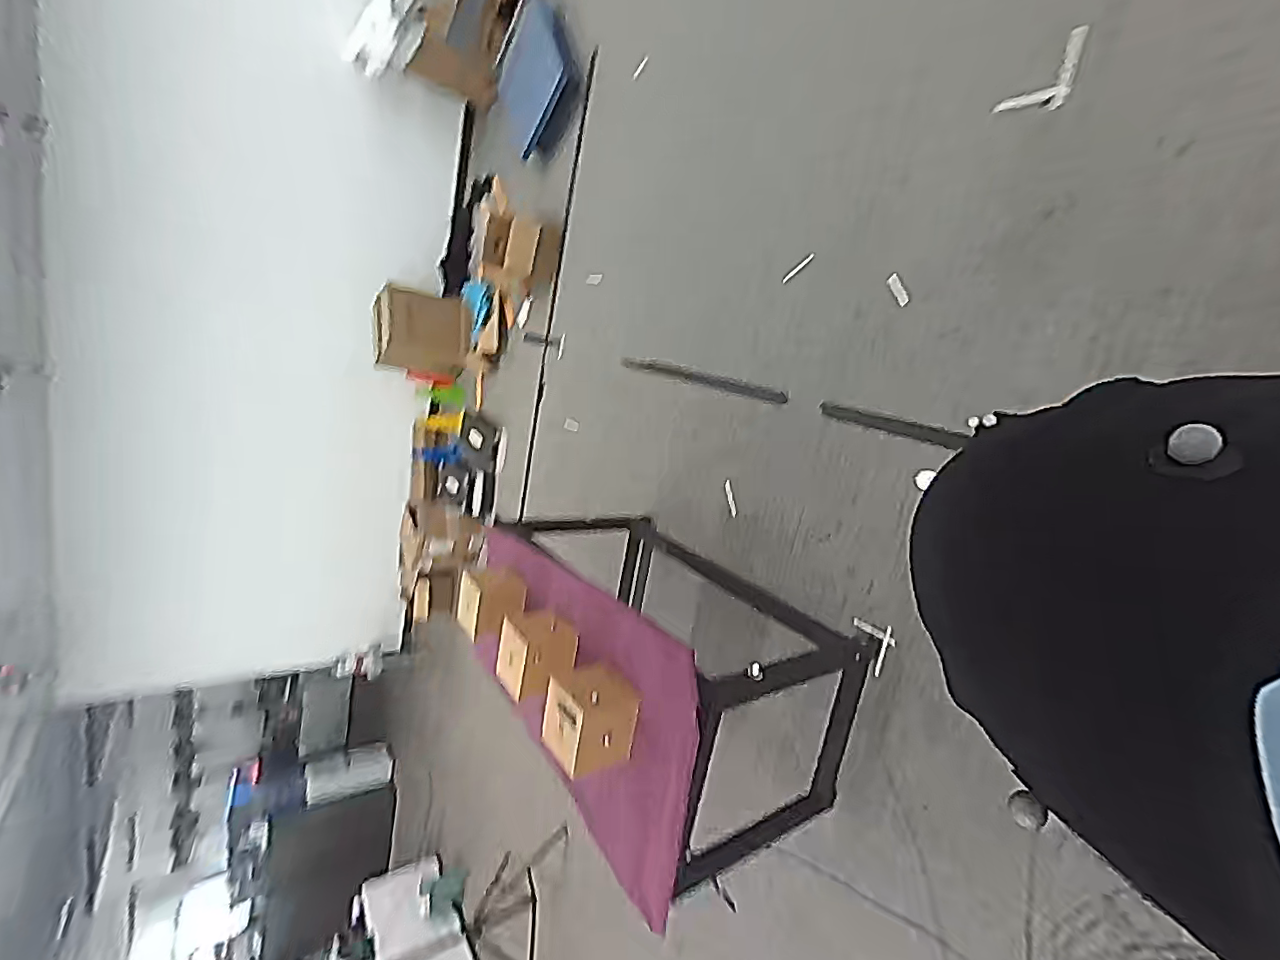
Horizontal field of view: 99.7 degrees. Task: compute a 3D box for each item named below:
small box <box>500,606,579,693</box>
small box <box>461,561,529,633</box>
[{"bbox_3d":[-0.296,0.492,1.593,0.168,0.176,0.179,25,108,50],"label":"small box"},{"bbox_3d":[-0.496,0.394,1.851,0.168,0.176,0.179,28,111,49],"label":"small box"}]
